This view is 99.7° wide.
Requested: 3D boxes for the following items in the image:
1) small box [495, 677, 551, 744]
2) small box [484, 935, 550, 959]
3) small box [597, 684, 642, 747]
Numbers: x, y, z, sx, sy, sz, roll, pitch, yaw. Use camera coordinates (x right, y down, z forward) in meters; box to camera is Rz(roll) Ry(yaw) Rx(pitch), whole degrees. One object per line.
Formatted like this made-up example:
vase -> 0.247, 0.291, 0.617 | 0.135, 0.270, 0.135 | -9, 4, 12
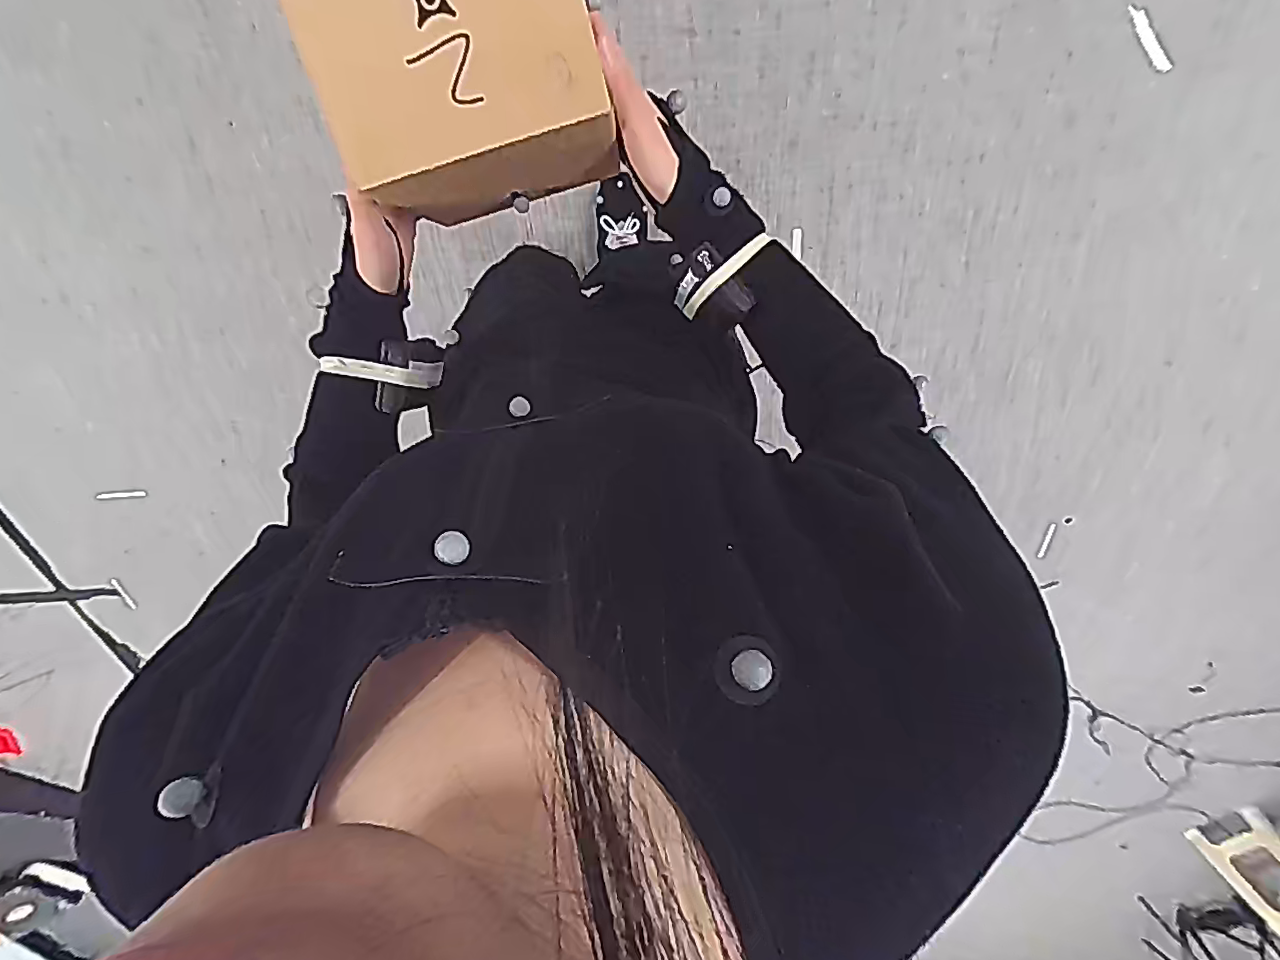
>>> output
small box -> -0.450, 0.887, 2.091 | 0.179, 0.176, 0.168 | 10, 121, -8
small box -> -0.372, 1.483, 1.602 | 0.179, 0.176, 0.168 | -3, 123, 0
small box -> -0.079, 0.918, 2.118 | 0.168, 0.176, 0.179 | -2, 123, 1
